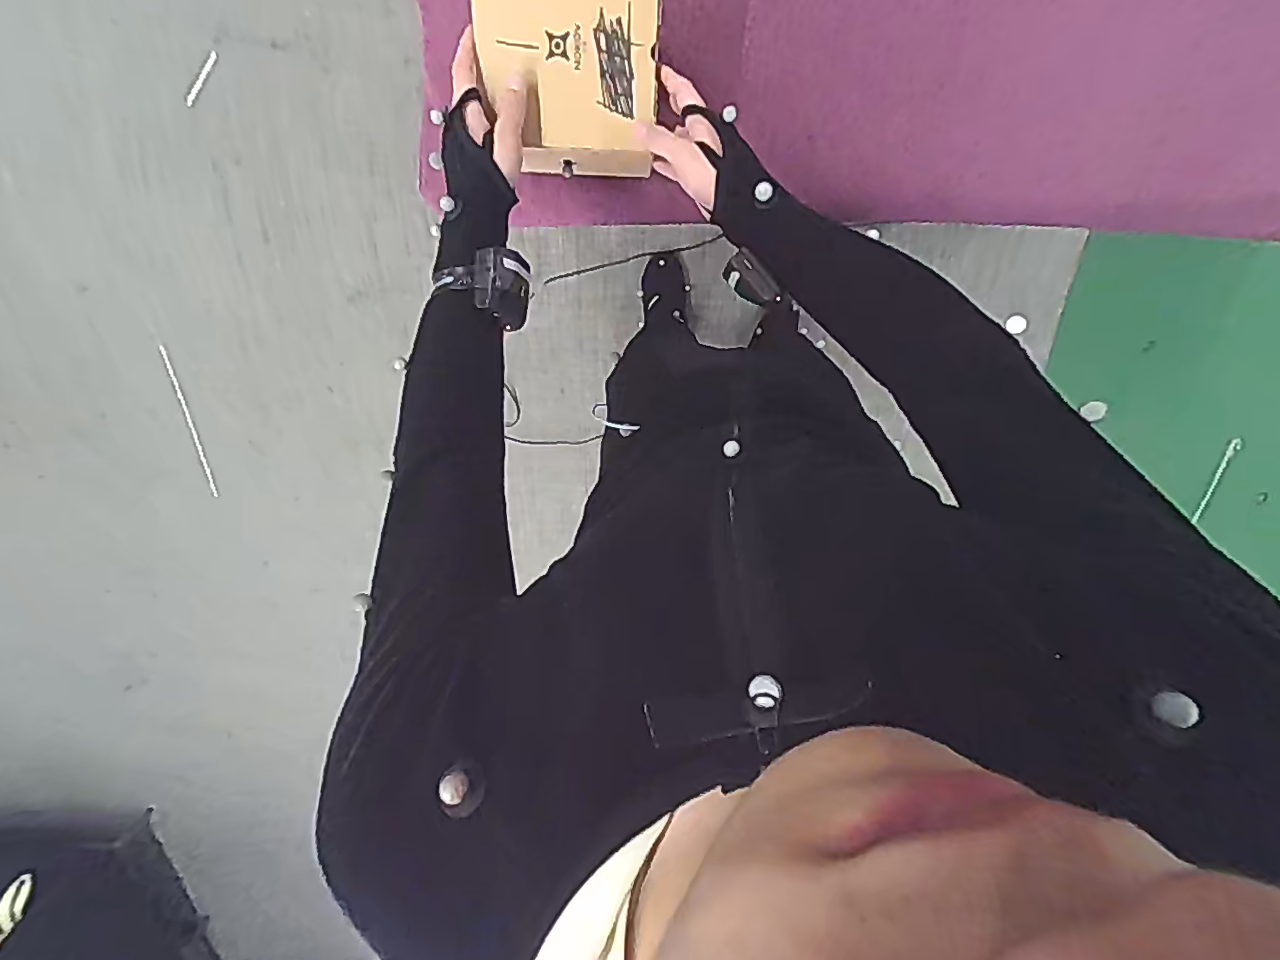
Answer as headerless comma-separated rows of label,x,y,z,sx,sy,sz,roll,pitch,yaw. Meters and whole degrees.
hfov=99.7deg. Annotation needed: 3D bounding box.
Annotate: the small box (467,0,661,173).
small box,-0.072,-0.433,0.573,0.179,0.176,0.168,2,112,-1
